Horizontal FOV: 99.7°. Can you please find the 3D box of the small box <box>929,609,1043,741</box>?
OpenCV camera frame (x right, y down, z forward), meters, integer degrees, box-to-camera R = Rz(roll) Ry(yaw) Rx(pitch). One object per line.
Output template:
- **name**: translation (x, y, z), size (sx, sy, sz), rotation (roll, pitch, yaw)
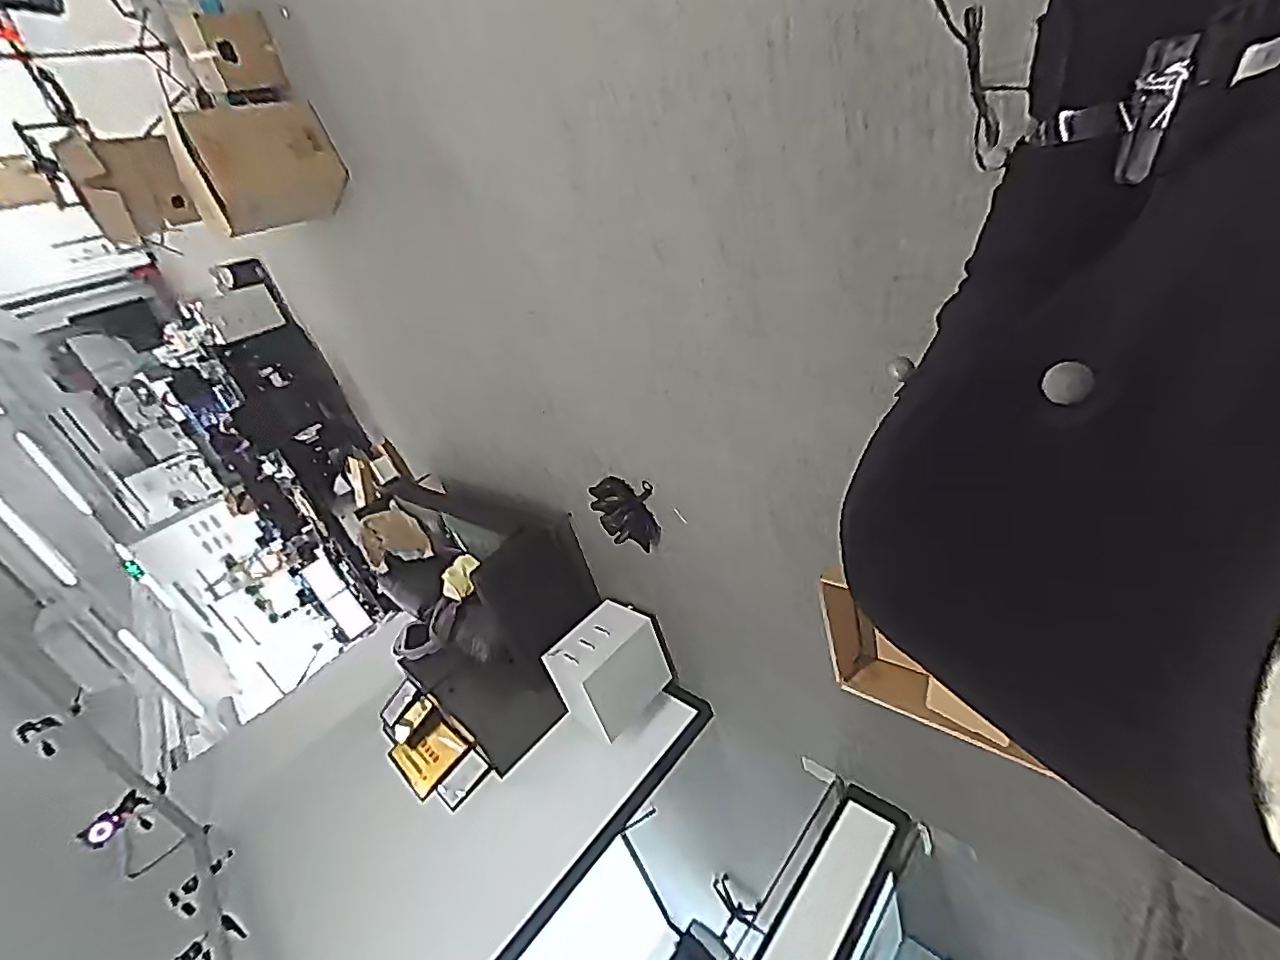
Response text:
- **small box**: translation (0.757, 0.420, 1.186), size (0.168, 0.176, 0.179), rotation (18, 135, 40)
